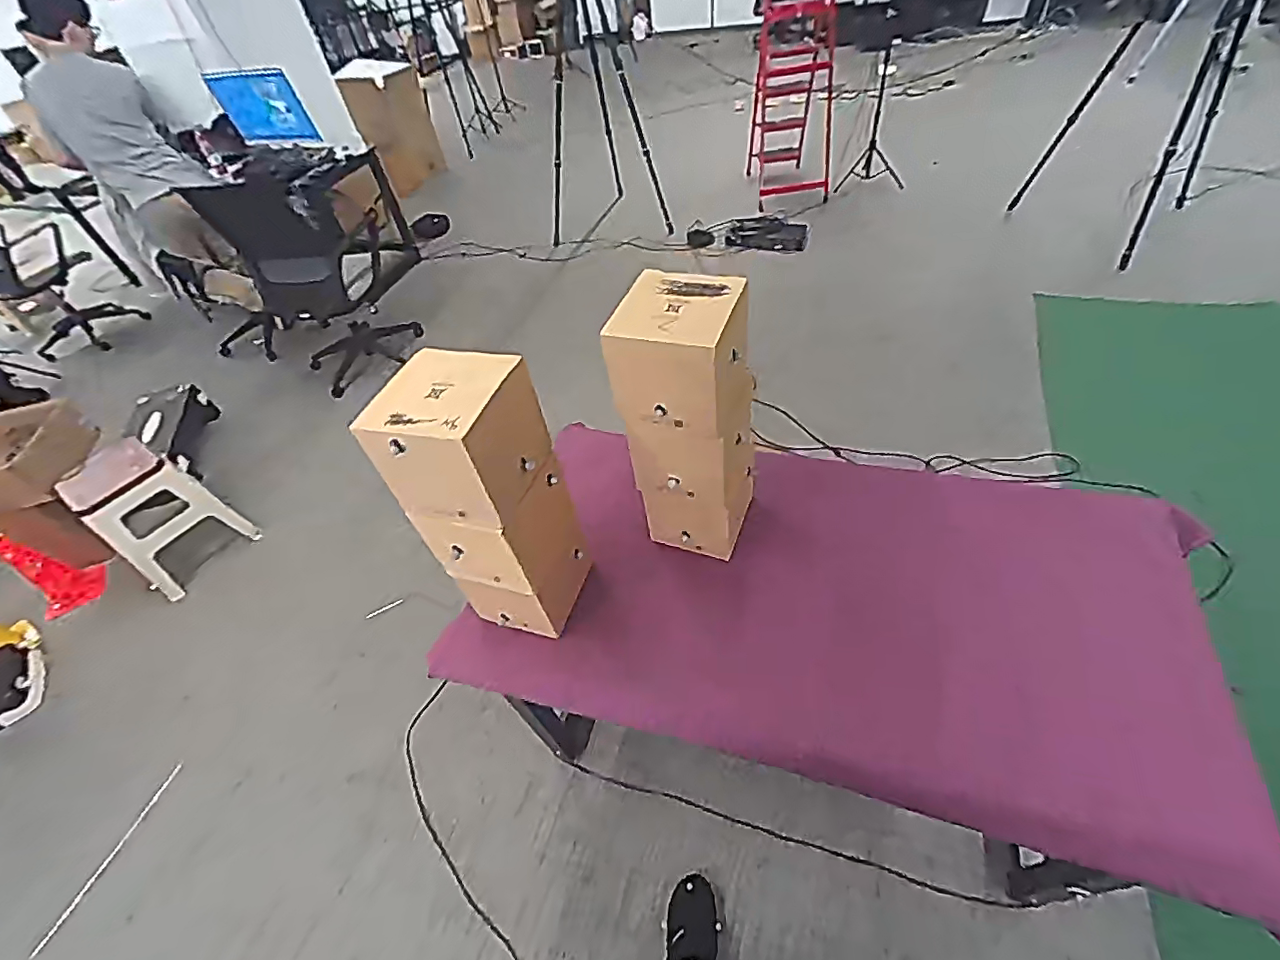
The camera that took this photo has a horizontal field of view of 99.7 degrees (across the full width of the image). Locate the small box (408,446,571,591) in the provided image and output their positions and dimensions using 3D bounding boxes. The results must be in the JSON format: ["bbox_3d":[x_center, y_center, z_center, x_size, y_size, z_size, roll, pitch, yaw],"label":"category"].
[{"bbox_3d":[-0.227,0.054,0.872,0.168,0.176,0.179,9,49,18],"label":"small box"}]

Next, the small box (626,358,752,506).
[{"bbox_3d":[0.090,-0.084,0.937,0.168,0.176,0.179,12,53,19],"label":"small box"}]

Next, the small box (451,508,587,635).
[{"bbox_3d":[-0.208,0.156,0.996,0.168,0.176,0.179,9,50,18],"label":"small box"}]

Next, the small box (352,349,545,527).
[{"bbox_3d":[-0.248,-0.061,0.756,0.168,0.176,0.179,7,48,17],"label":"small box"}]

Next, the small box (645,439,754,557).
[{"bbox_3d":[0.118,0.020,1.061,0.168,0.176,0.179,14,53,21],"label":"small box"}]
